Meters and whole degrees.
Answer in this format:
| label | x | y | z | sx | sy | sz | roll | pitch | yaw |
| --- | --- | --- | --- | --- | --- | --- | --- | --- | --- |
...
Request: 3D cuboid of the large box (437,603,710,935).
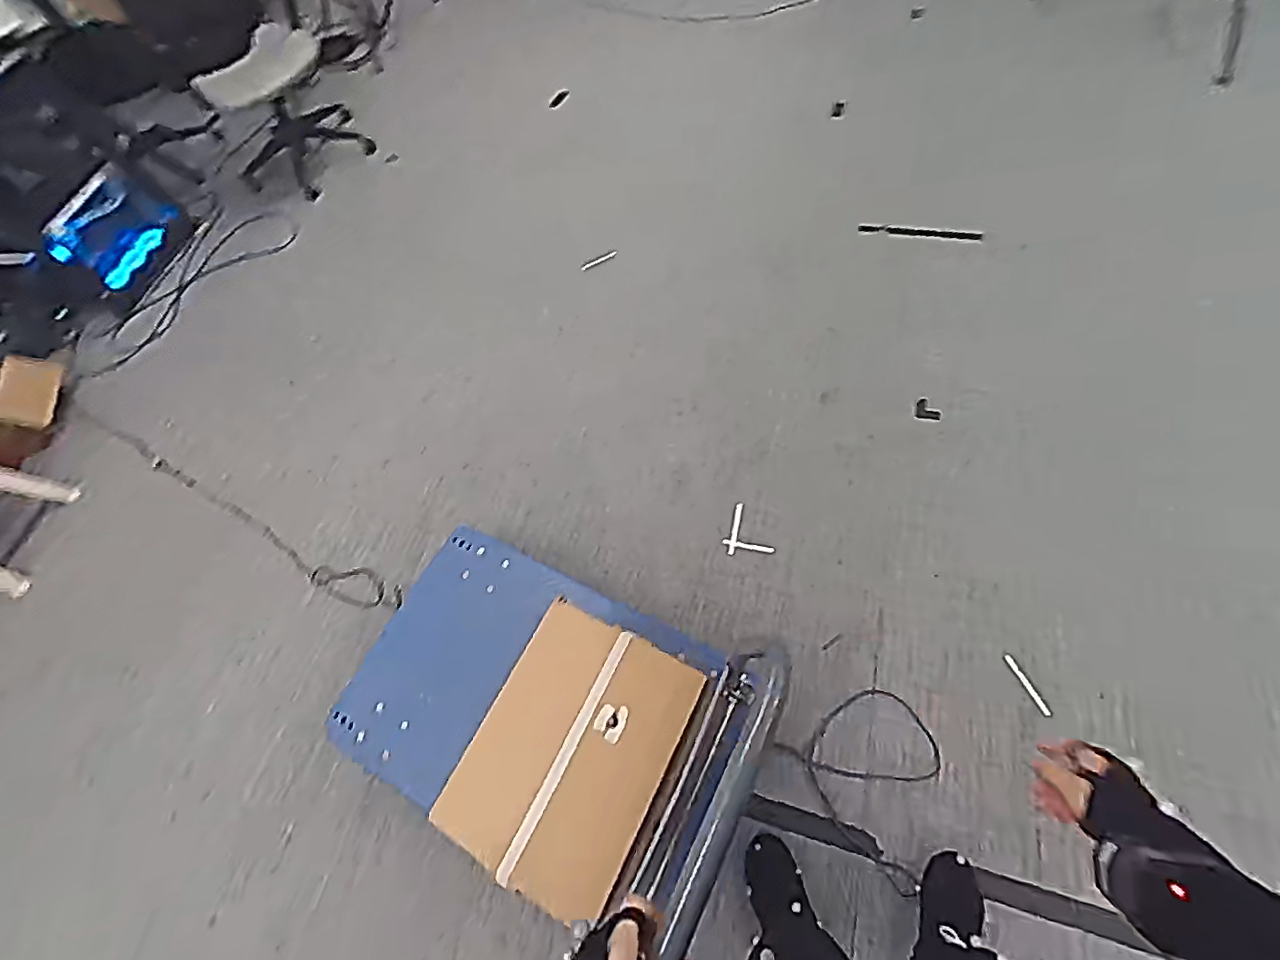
| label | x | y | z | sx | sy | sz | roll | pitch | yaw |
| --- | --- | --- | --- | --- | --- | --- | --- | --- | --- |
| large box | -0.090 | 0.514 | 1.024 | 0.320 | 0.320 | 0.408 | 22 | 68 | 19 |
